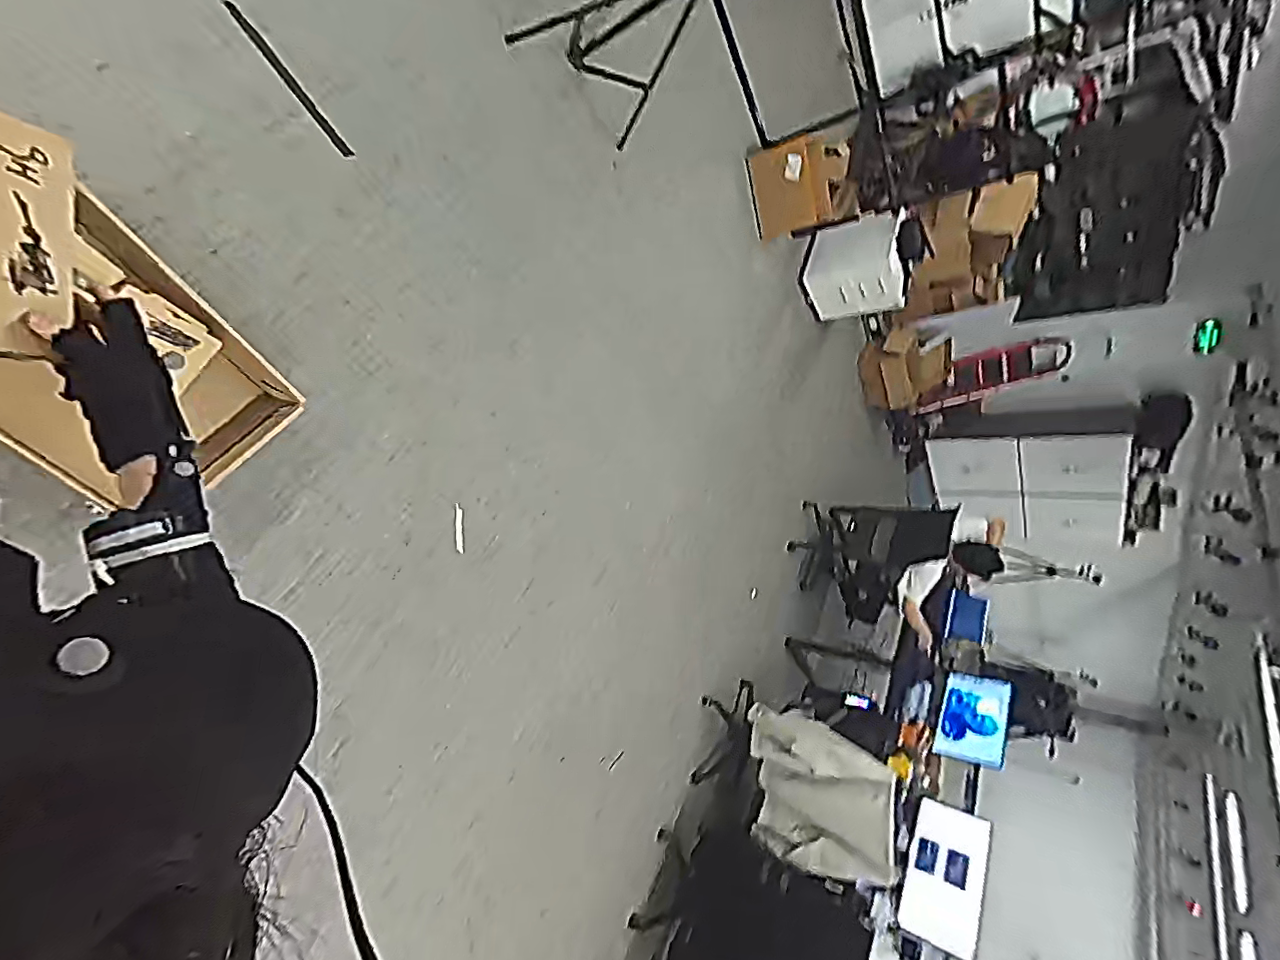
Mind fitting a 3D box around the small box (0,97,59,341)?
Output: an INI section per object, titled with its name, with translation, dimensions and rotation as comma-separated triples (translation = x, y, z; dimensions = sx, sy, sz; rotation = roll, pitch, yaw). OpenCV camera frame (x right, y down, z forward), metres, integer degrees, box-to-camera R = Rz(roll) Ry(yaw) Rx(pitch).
[small box]
translation = -0.545, -0.190, 0.367
dimensions = 0.179, 0.176, 0.168
rotation = -5, 102, -60
